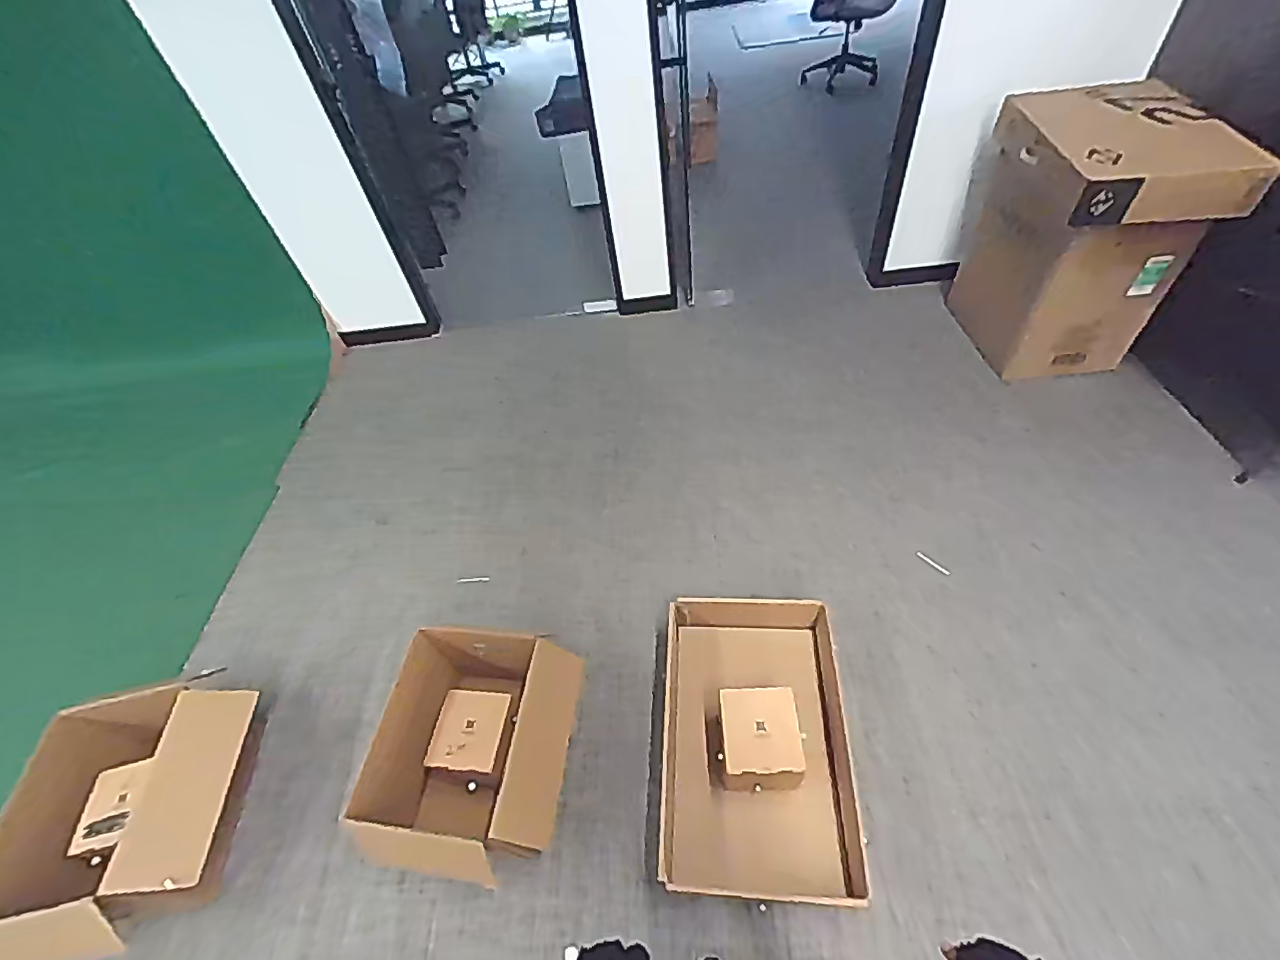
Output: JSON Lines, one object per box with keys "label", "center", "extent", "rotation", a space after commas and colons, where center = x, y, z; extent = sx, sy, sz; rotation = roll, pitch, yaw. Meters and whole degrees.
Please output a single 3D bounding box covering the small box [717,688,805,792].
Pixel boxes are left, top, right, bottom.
{"label": "small box", "center": [0.265, 0.591, 1.227], "extent": [0.168, 0.176, 0.179], "rotation": [-4, 49, 4]}
